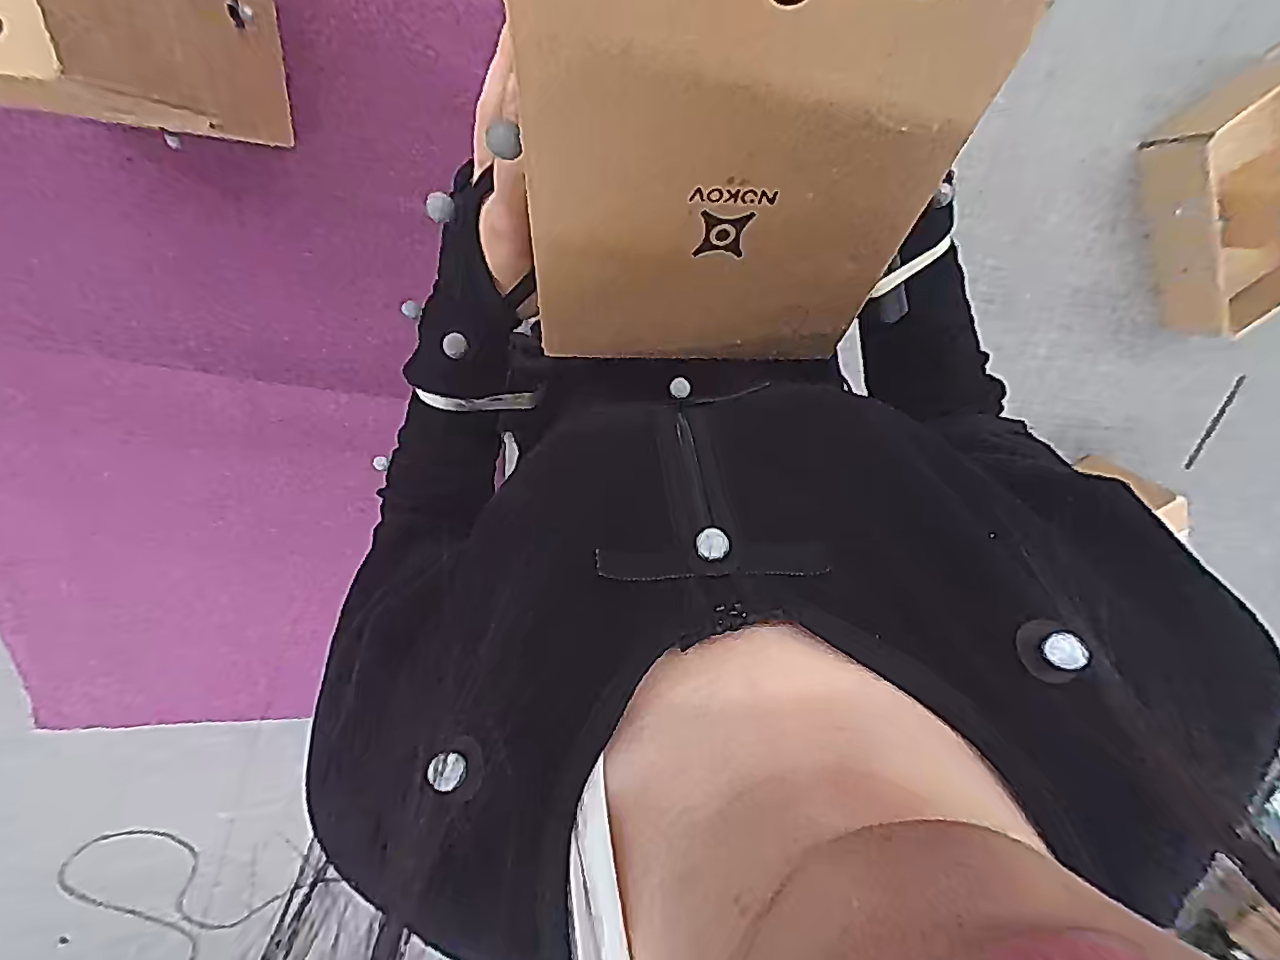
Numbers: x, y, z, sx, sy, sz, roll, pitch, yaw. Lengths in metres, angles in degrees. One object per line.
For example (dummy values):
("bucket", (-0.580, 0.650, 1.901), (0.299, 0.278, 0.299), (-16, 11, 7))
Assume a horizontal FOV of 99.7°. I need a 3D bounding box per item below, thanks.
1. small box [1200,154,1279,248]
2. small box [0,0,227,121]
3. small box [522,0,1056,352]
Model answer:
("small box", (1.660, -0.745, 1.438), (0.179, 0.176, 0.168), (-33, 118, 6))
("small box", (-0.355, -0.302, 0.269), (0.168, 0.176, 0.179), (-1, 117, -10))
("small box", (0.035, -0.185, 0.262), (0.168, 0.176, 0.179), (-1, 153, -6))
